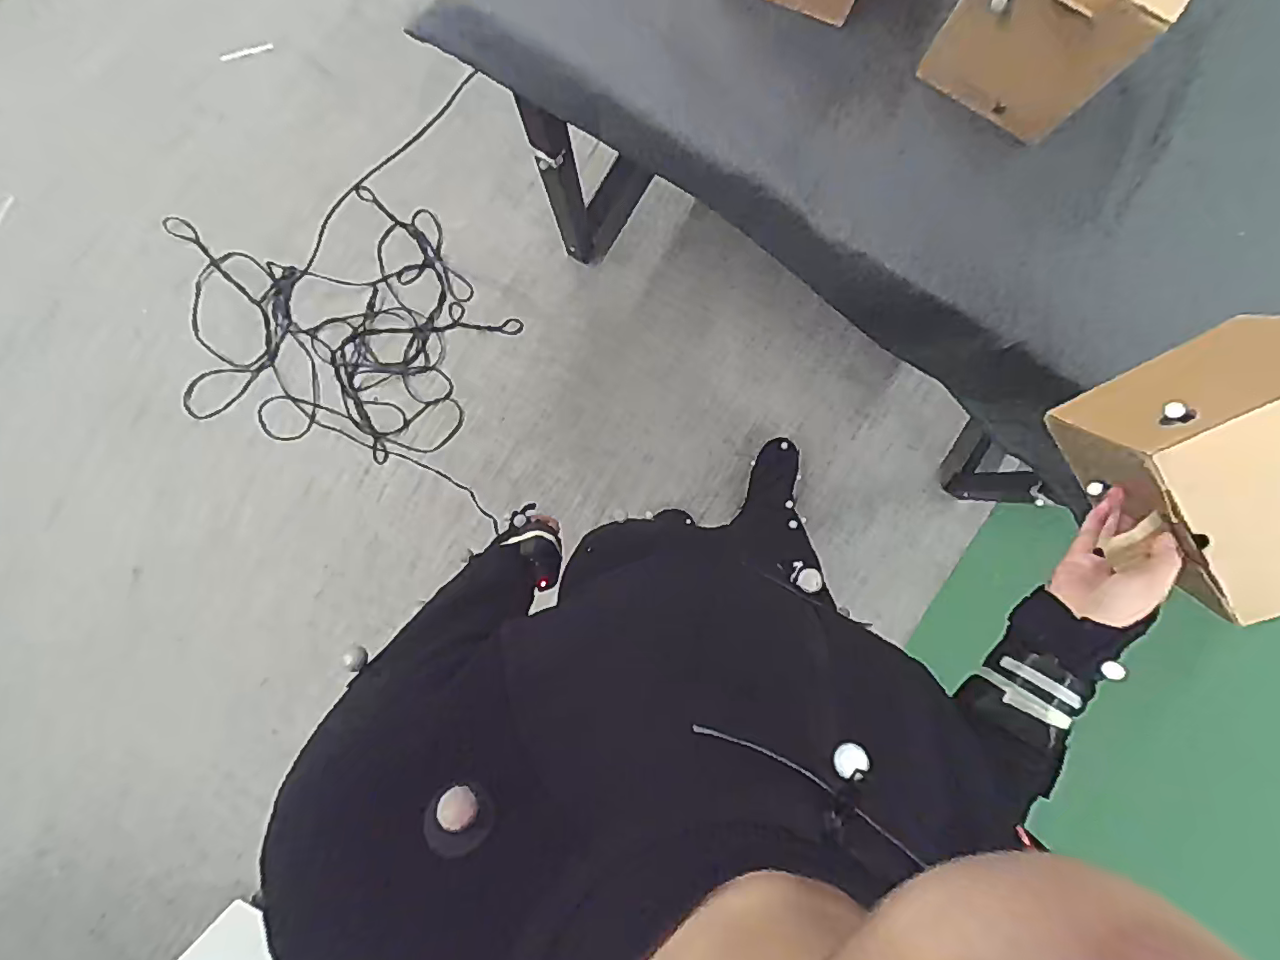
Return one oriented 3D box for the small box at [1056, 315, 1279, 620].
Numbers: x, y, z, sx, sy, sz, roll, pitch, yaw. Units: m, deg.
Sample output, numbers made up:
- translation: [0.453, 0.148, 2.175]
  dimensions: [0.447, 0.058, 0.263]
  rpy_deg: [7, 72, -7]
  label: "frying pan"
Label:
- translation: [0.508, -0.023, 0.451]
  dimensions: [0.179, 0.176, 0.168]
  rpy_deg: [-32, 98, 22]
  label: "small box"
